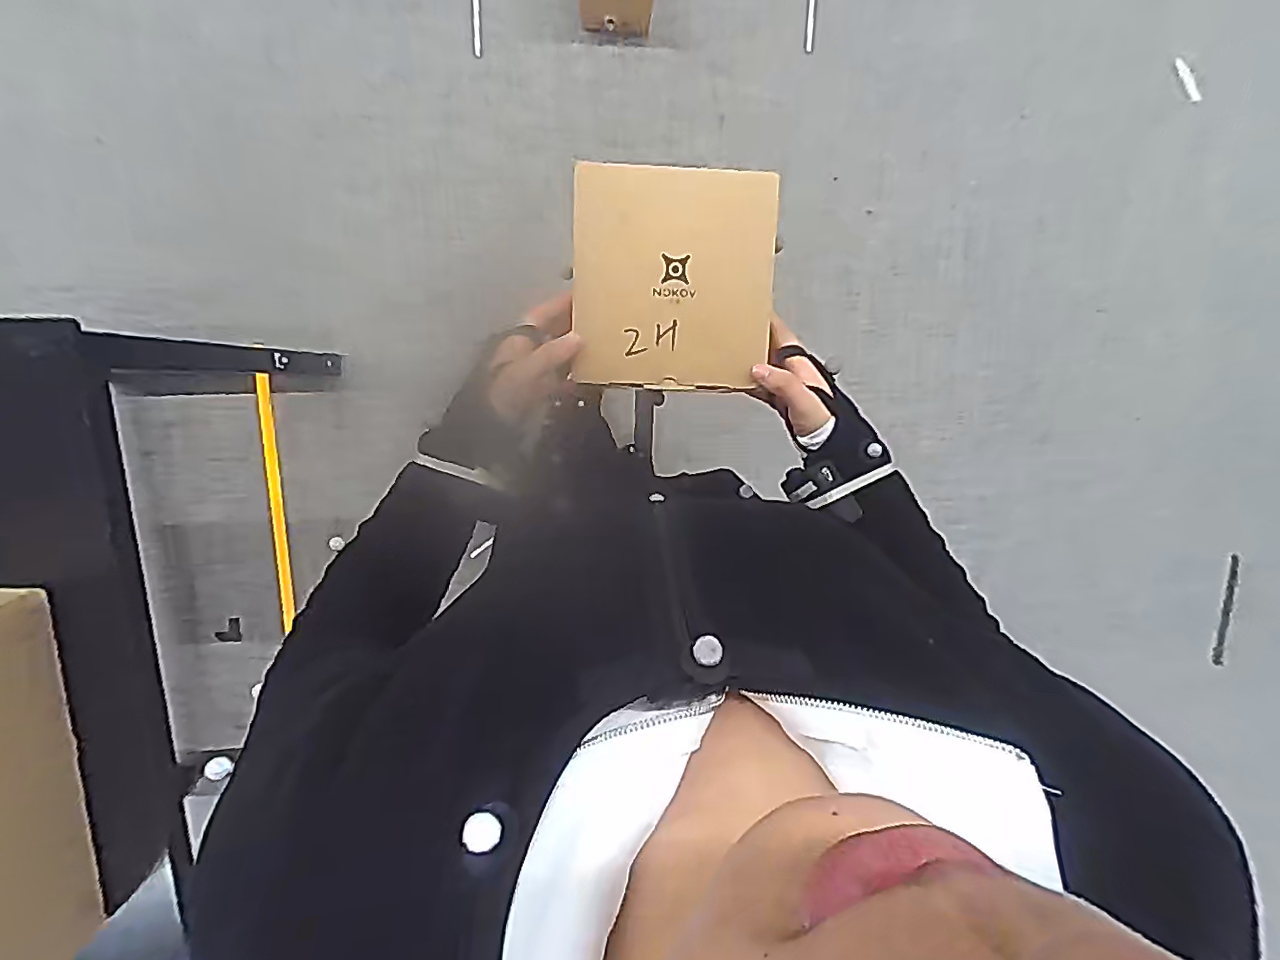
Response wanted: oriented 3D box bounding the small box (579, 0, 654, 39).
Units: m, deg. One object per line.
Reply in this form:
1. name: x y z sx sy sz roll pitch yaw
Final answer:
1. small box: -0.054 -1.131 1.197 0.168 0.176 0.179 0 101 -3

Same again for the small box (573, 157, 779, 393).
1. small box: 0.025 -0.177 0.520 0.168 0.176 0.179 1 98 -2
